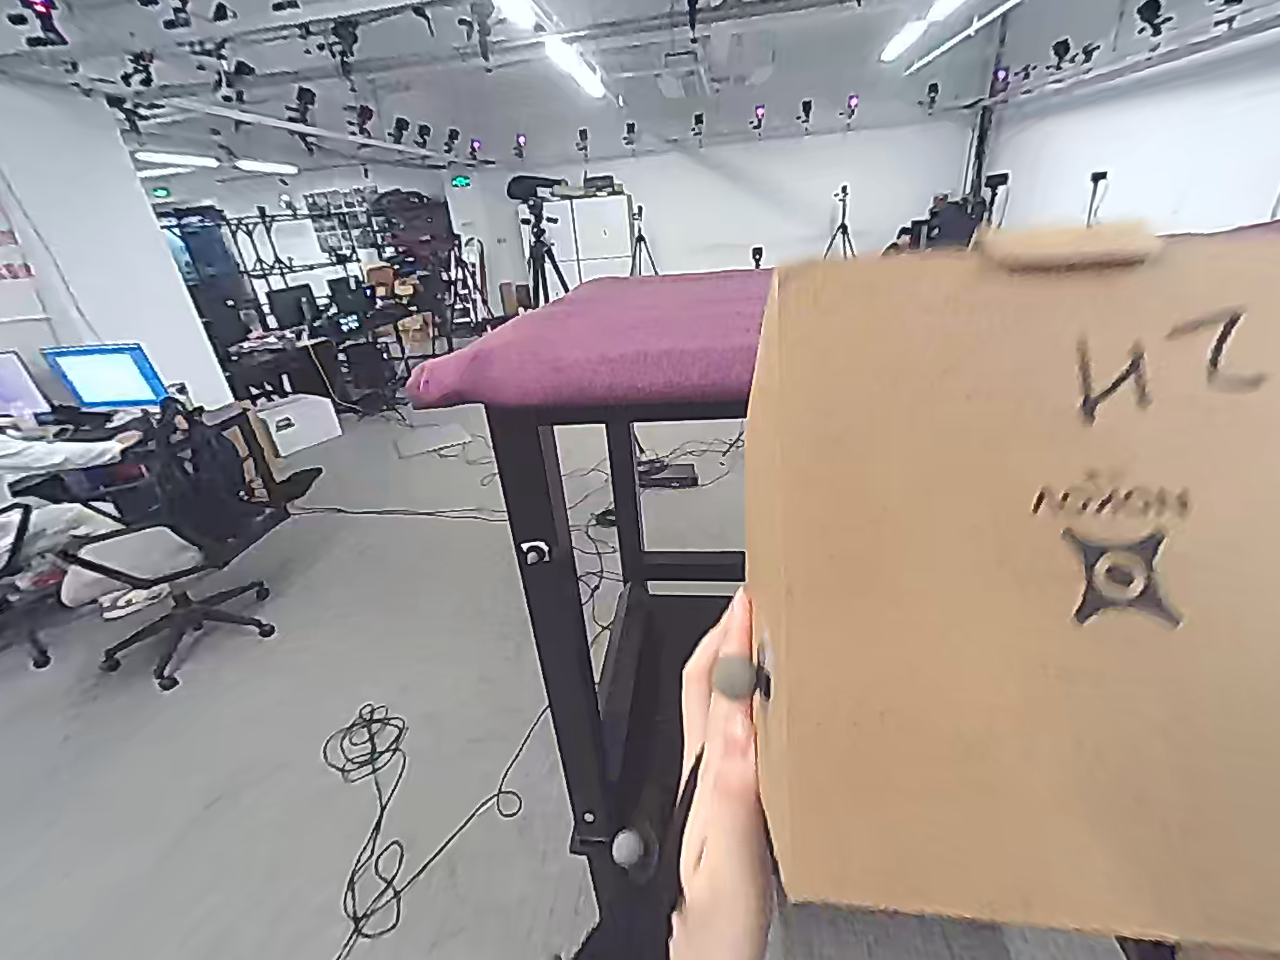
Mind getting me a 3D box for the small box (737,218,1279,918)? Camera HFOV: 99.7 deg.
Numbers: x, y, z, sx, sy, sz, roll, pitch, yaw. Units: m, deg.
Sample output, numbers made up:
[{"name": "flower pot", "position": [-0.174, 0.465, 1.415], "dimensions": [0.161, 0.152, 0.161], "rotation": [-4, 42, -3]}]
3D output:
[{"name": "small box", "position": [0.127, 0.028, 0.218], "dimensions": [0.168, 0.179, 0.176], "rotation": [1, -13, 8]}]
